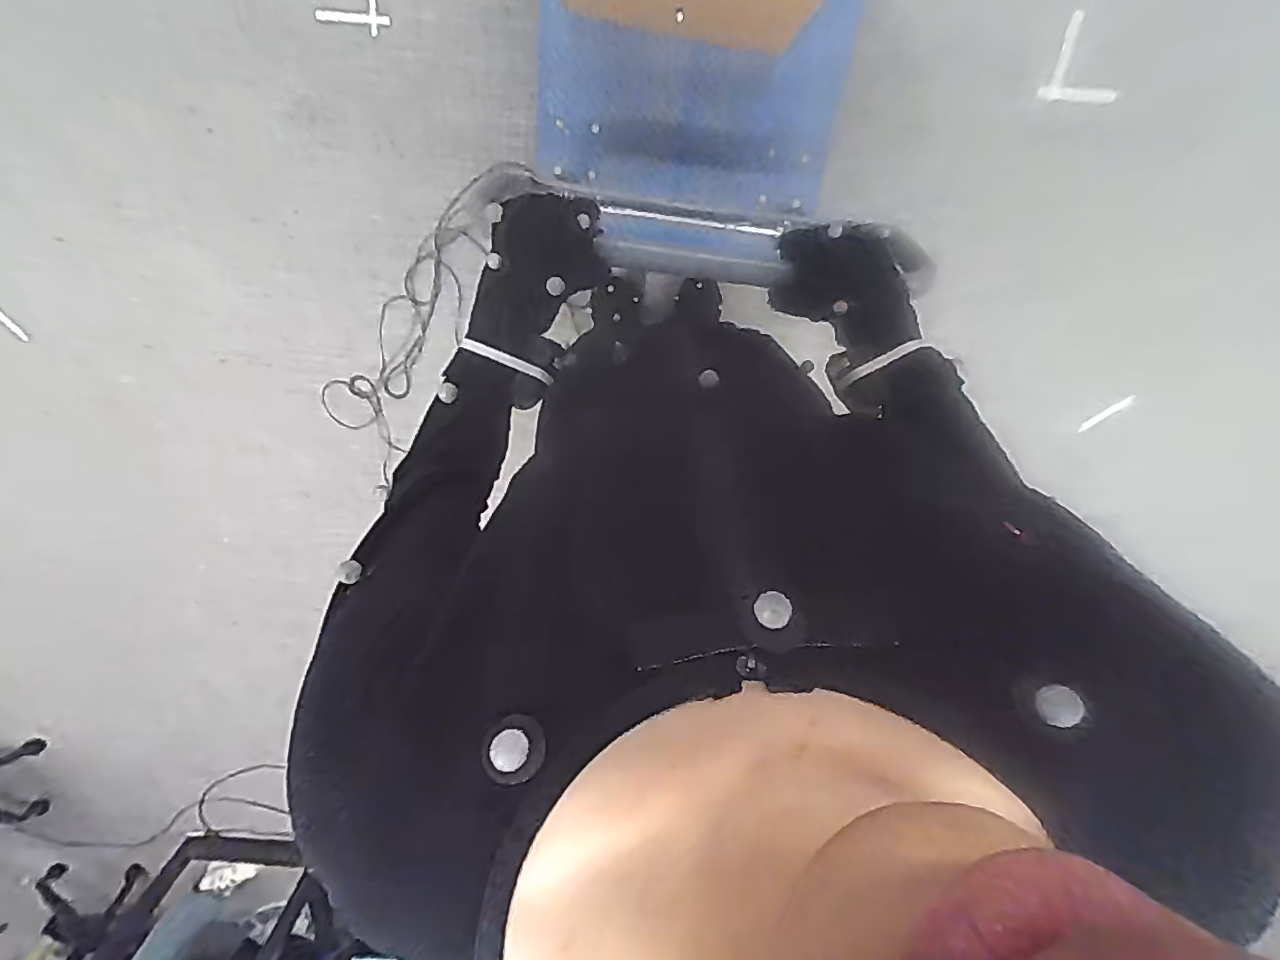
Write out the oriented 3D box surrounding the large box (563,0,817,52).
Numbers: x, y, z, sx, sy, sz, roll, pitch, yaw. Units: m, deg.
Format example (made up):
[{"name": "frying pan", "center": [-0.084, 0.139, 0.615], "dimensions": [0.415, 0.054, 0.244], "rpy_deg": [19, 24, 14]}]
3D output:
[{"name": "large box", "center": [0.083, -0.897, 0.811], "dimensions": [0.408, 0.320, 0.320], "rpy_deg": [8, 114, -2]}]
